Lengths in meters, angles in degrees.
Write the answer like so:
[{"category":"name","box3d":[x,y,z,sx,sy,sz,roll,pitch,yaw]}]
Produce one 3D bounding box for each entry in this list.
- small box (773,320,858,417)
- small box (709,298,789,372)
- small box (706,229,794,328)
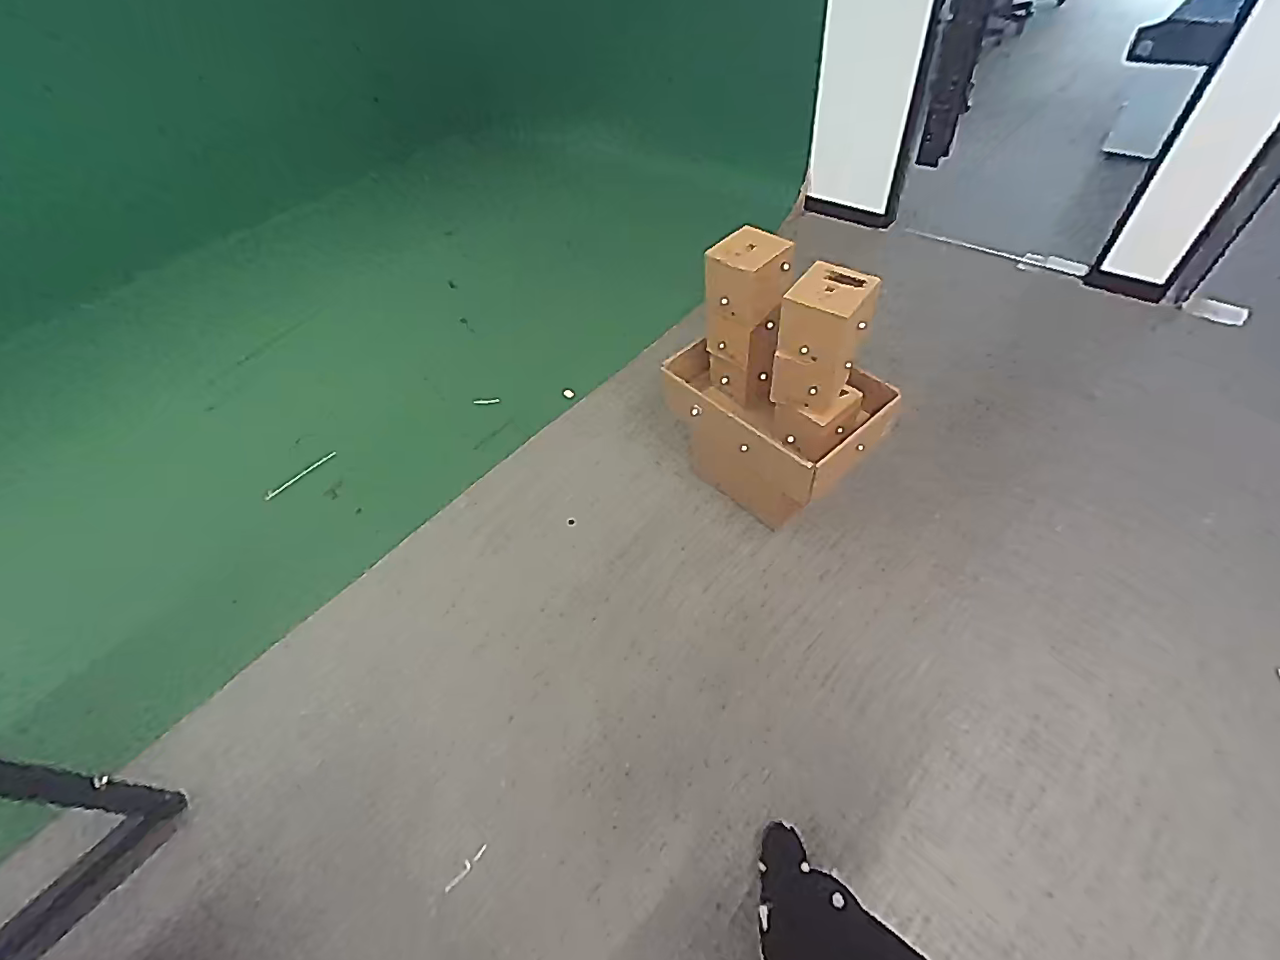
[{"category":"small box","box3d":[0.473,-0.301,1.474,0.168,0.176,0.179,23,58,24]},{"category":"small box","box3d":[0.322,-0.460,1.625,0.179,0.176,0.168,-39,56,-20]},{"category":"small box","box3d":[0.298,-0.554,1.492,0.179,0.176,0.168,-39,56,-20]}]
